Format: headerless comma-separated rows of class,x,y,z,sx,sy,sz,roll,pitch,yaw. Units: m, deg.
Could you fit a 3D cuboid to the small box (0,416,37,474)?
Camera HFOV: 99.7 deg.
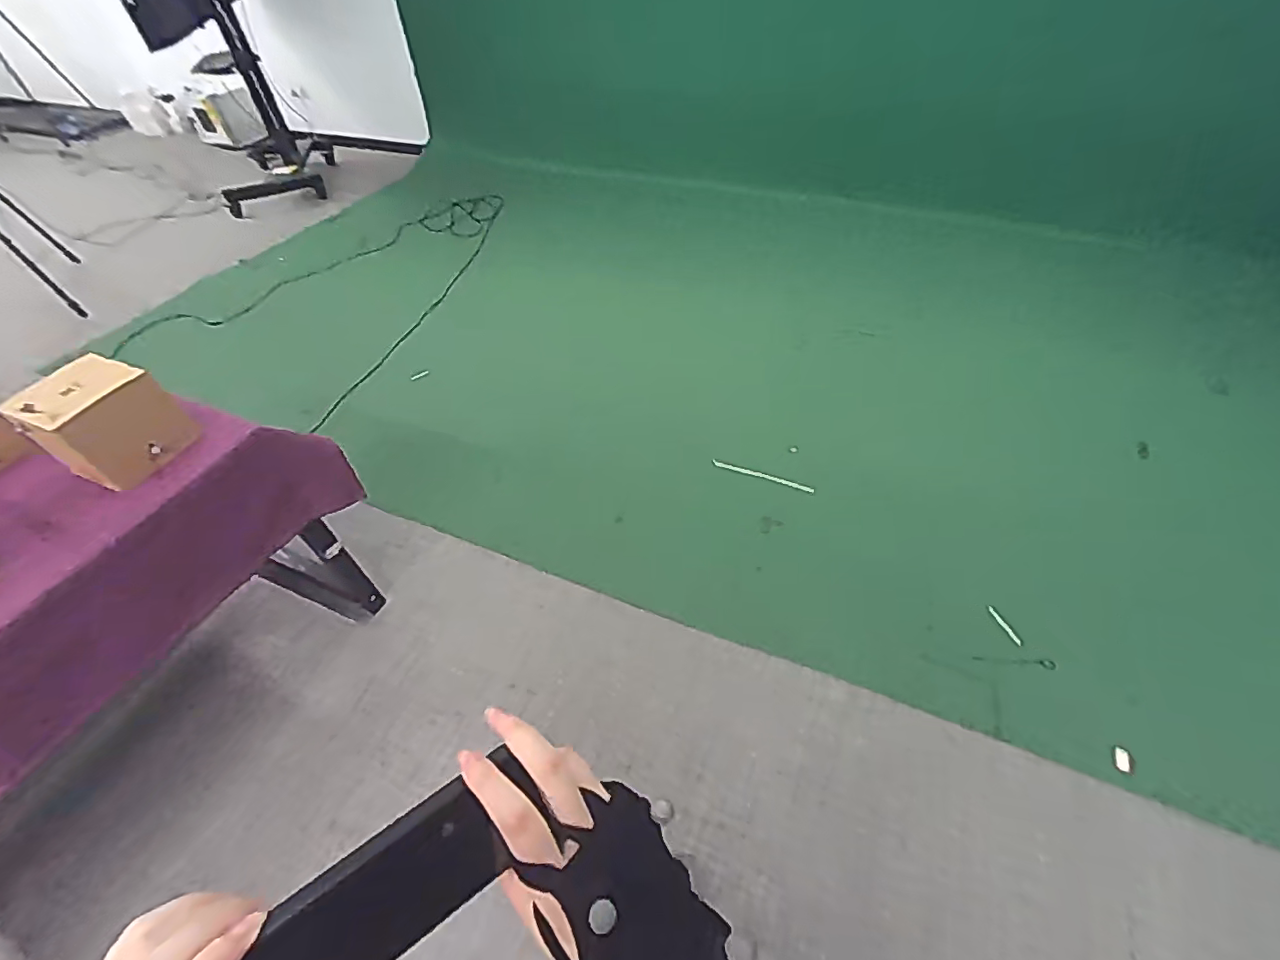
small box,-1.352,-0.083,1.032,0.179,0.176,0.168,16,51,16

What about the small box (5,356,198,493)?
small box,-1.007,-0.107,1.036,0.168,0.176,0.179,16,51,17
